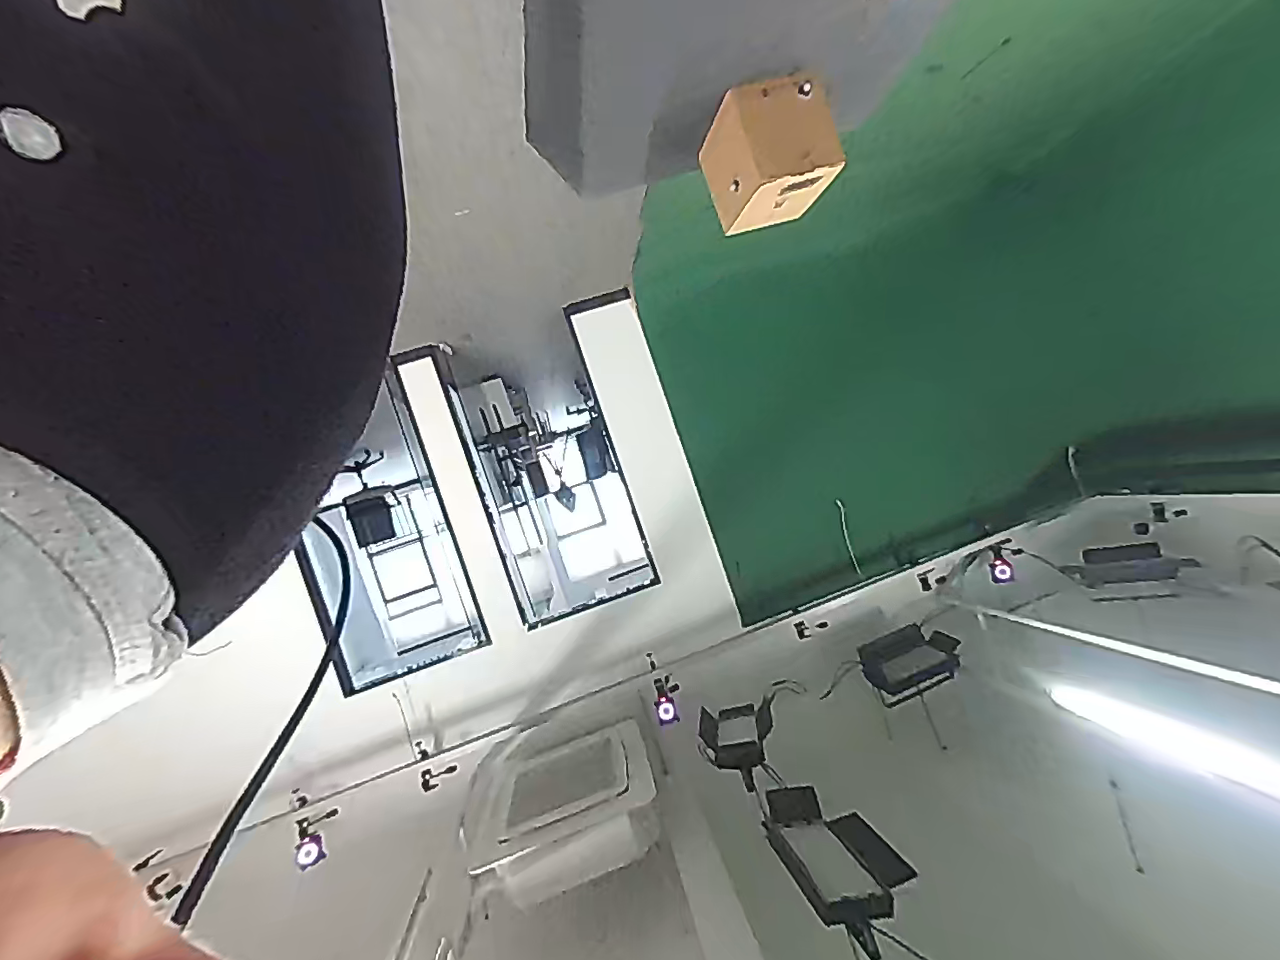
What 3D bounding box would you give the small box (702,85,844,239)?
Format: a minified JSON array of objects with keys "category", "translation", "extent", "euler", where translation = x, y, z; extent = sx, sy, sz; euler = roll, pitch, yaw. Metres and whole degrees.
[{"category":"small box","translation":[0.228,-0.575,0.976],"extent":[0.168,0.176,0.179],"euler":[-19,-179,-11]}]
